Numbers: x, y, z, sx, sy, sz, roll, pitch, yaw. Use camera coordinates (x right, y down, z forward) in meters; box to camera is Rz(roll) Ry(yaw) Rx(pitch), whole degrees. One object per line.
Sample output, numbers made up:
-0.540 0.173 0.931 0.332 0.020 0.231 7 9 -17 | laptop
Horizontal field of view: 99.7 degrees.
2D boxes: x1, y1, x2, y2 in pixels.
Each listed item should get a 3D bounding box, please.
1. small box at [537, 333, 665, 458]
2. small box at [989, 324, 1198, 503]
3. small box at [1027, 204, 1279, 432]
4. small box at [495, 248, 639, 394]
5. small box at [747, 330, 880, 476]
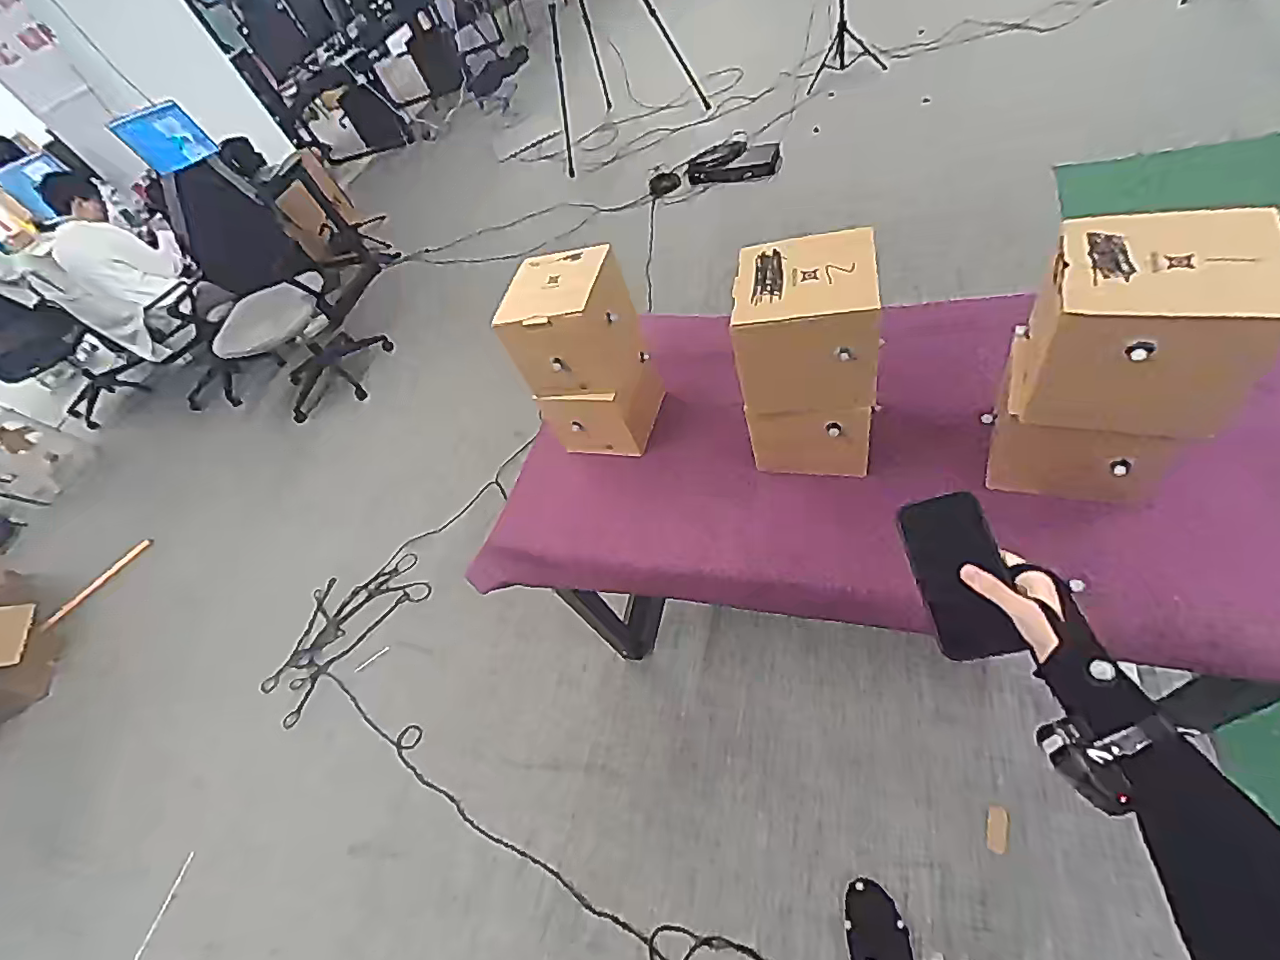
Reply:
-0.064 -0.159 1.043 0.168 0.176 0.179 4 56 25 | small box
0.591 -0.087 0.724 0.179 0.176 0.168 9 58 29 | small box
0.544 -0.169 0.589 0.179 0.176 0.168 9 58 27 | small box
-0.112 -0.260 0.923 0.168 0.176 0.179 0 55 21 | small box
0.284 -0.120 0.870 0.179 0.176 0.168 4 56 24 | small box
